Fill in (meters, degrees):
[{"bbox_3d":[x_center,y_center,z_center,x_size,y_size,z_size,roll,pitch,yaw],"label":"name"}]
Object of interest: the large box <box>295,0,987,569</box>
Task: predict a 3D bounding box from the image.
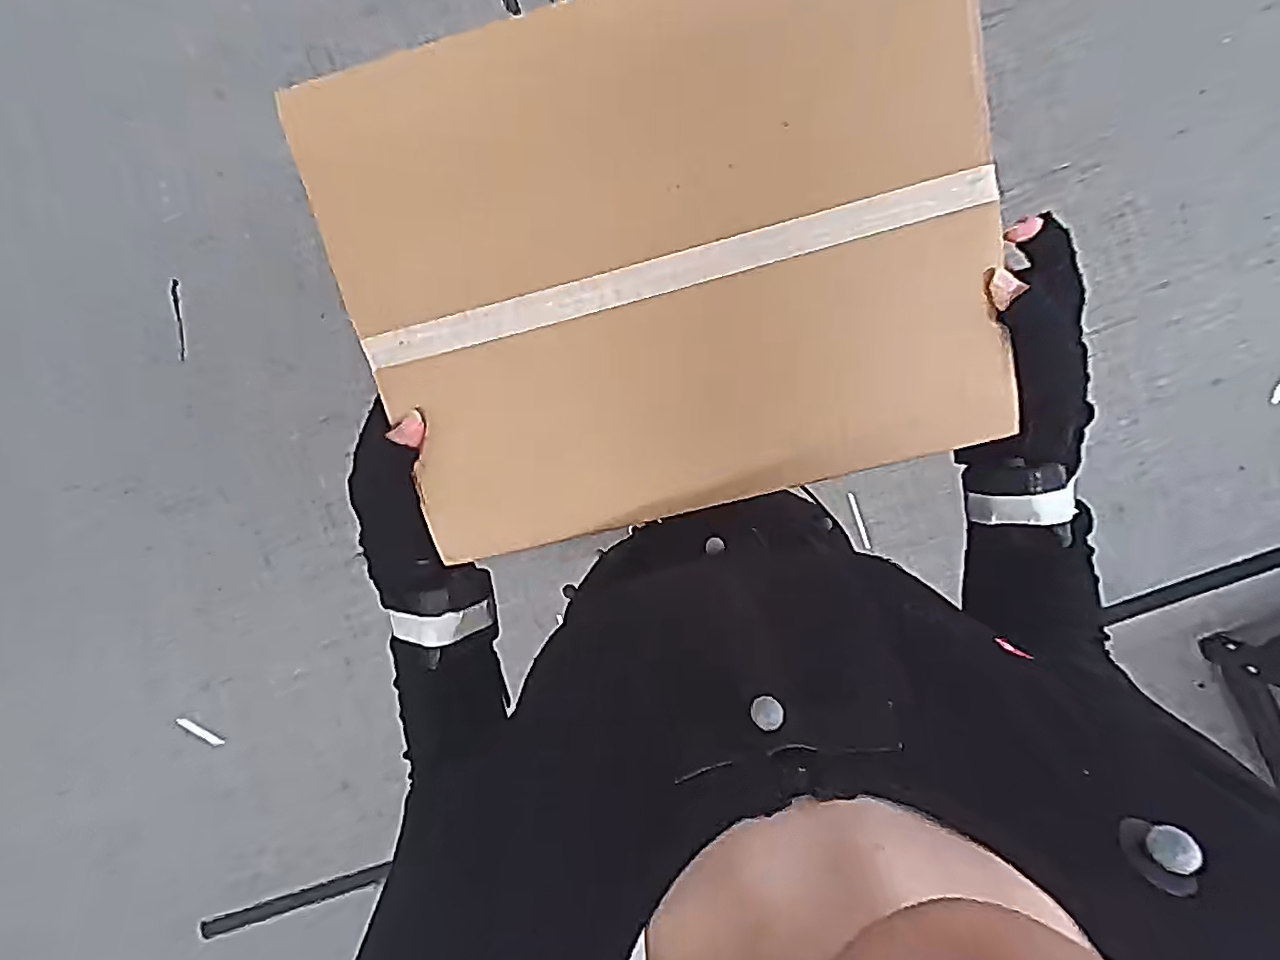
[{"bbox_3d":[0.016,-0.161,0.499,0.408,0.320,0.320,-14,102,5],"label":"large box"}]
